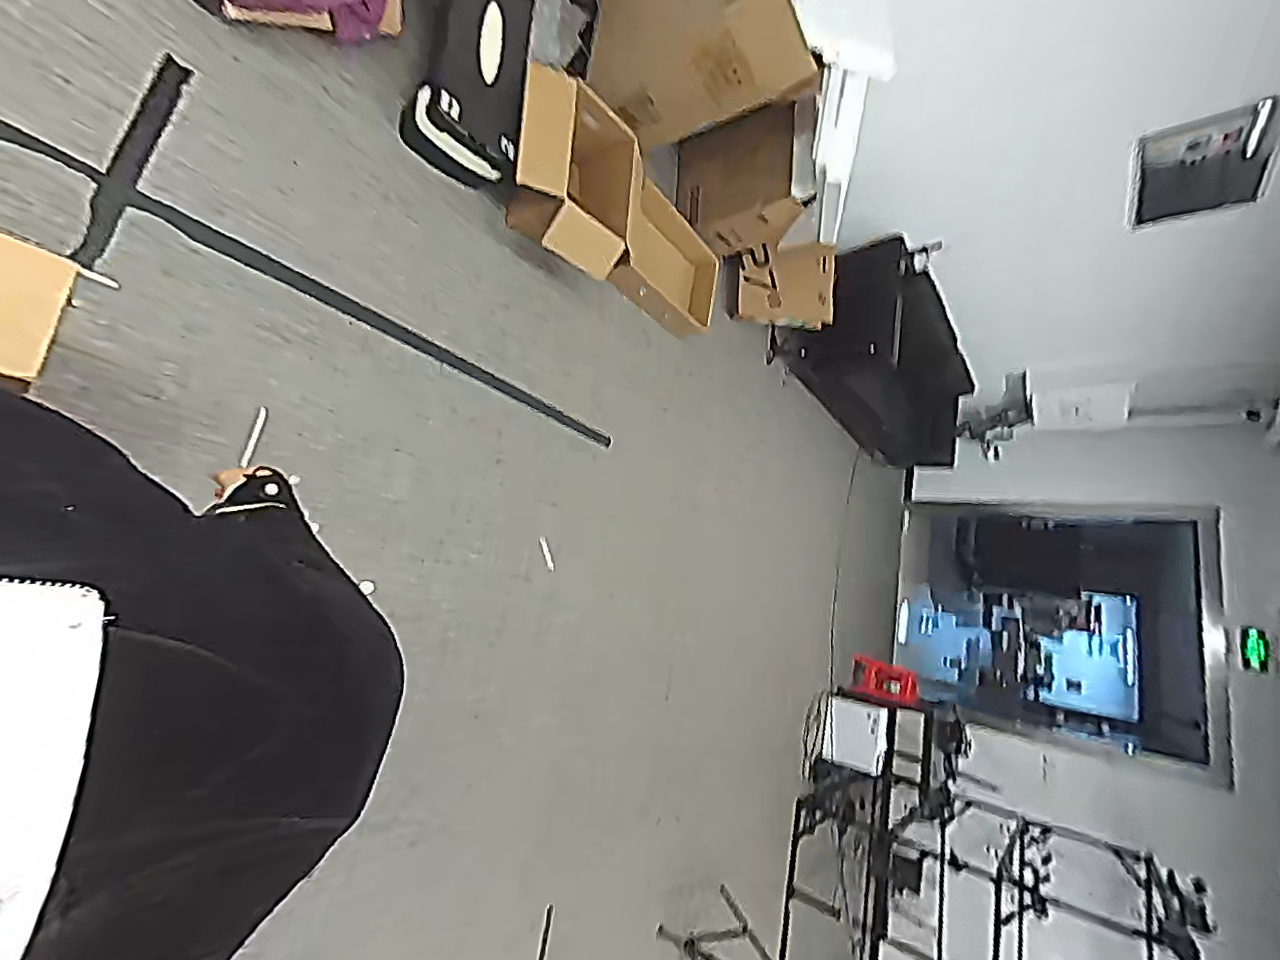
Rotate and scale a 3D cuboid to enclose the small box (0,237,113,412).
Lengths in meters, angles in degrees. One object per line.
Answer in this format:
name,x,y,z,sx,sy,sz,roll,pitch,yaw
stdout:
small box,-0.817,-0.197,0.683,0.168,0.176,0.179,22,74,-48
